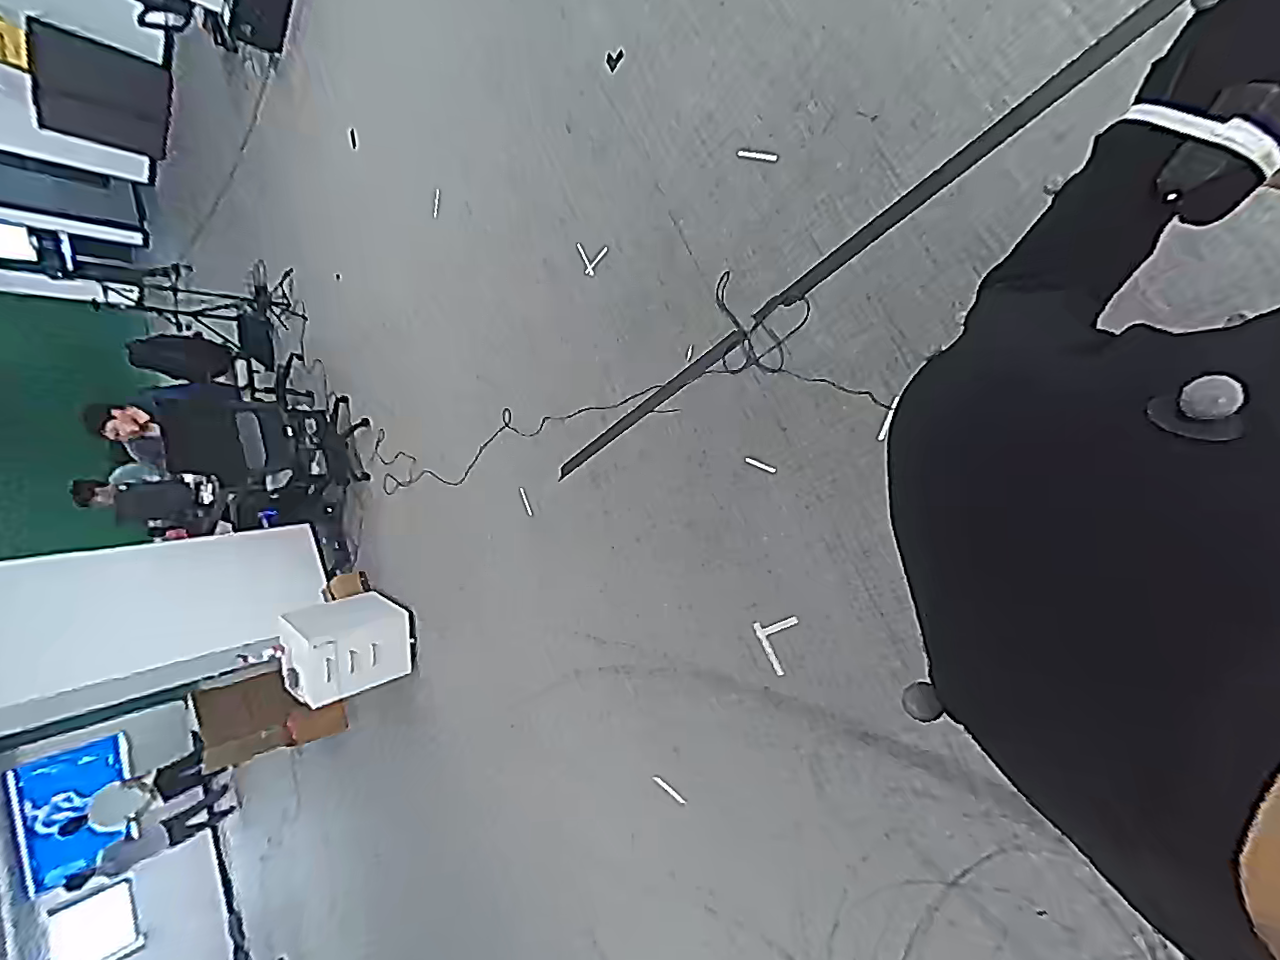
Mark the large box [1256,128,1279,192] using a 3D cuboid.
[{"bbox_3d":[0.667,-0.289,0.246,0.408,0.320,0.320,40,124,32],"label":"large box"}]
